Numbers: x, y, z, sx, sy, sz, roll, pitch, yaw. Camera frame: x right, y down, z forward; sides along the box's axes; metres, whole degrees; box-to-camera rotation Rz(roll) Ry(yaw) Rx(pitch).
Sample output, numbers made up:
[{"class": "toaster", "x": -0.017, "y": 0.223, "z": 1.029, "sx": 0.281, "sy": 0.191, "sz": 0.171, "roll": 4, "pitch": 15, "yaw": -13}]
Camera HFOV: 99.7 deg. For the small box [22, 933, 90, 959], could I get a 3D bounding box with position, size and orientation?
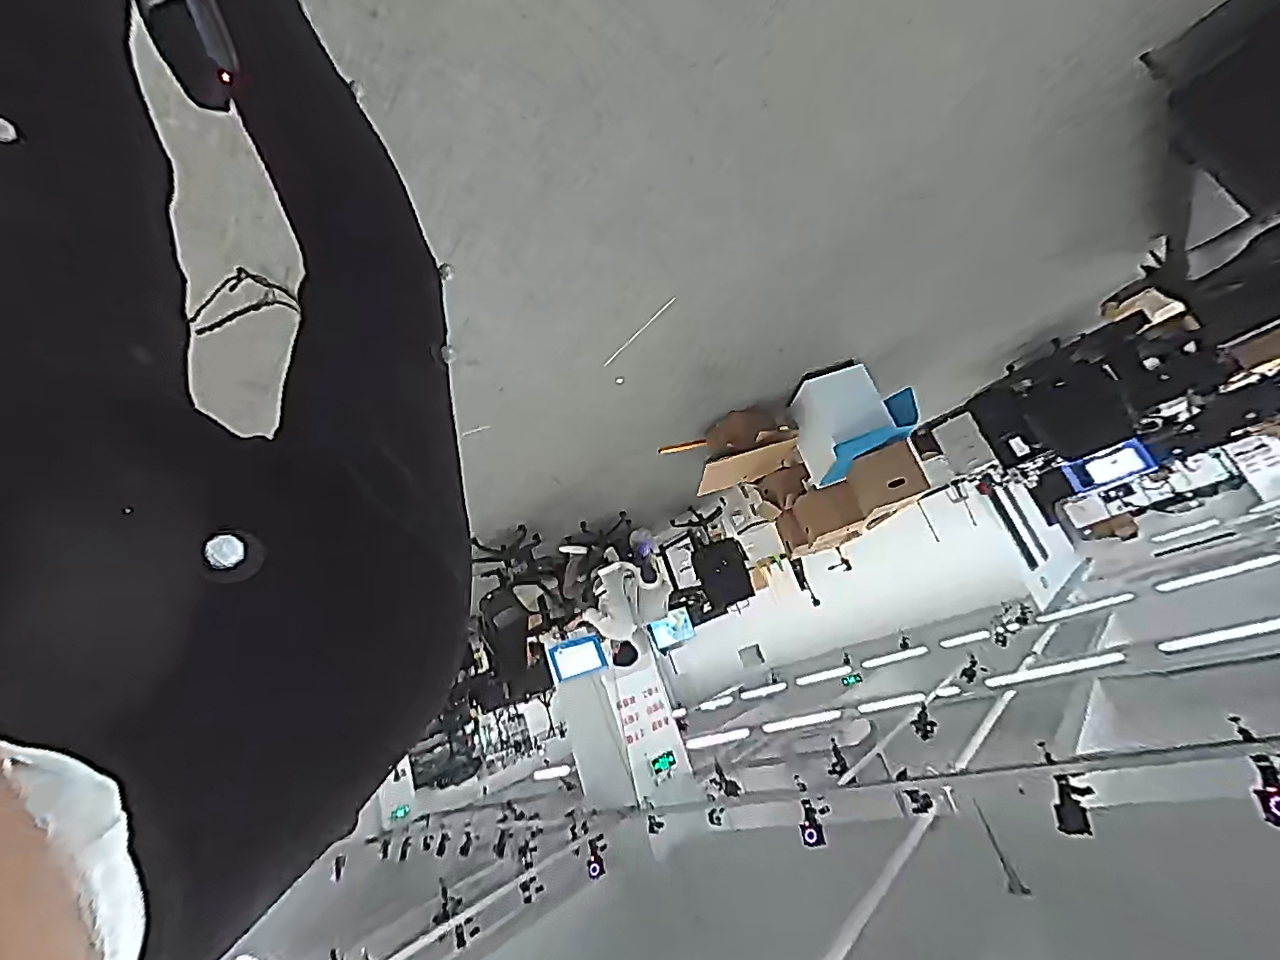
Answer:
[{"class": "small box", "x": -1.491, "y": 1.275, "z": 1.344, "sx": 0.179, "sy": 0.176, "sz": 0.168, "roll": -31, "pitch": 159, "yaw": 37}]
